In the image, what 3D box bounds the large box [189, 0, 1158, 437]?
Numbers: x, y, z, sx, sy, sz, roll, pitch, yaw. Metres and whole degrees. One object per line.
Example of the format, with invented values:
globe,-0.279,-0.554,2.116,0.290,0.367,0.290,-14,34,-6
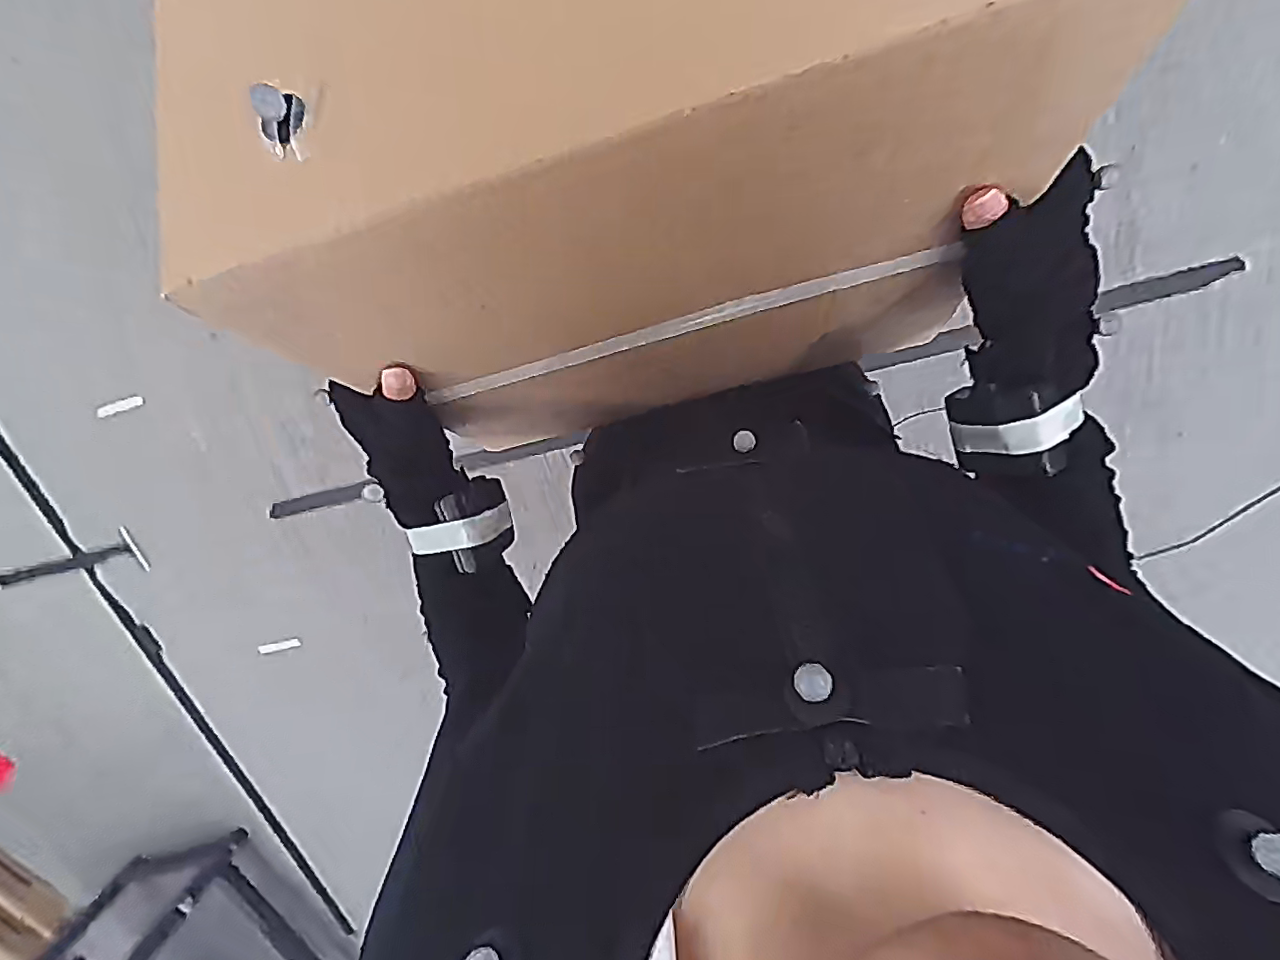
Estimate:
large box,-0.007,-0.253,0.379,0.408,0.320,0.320,-12,79,9
